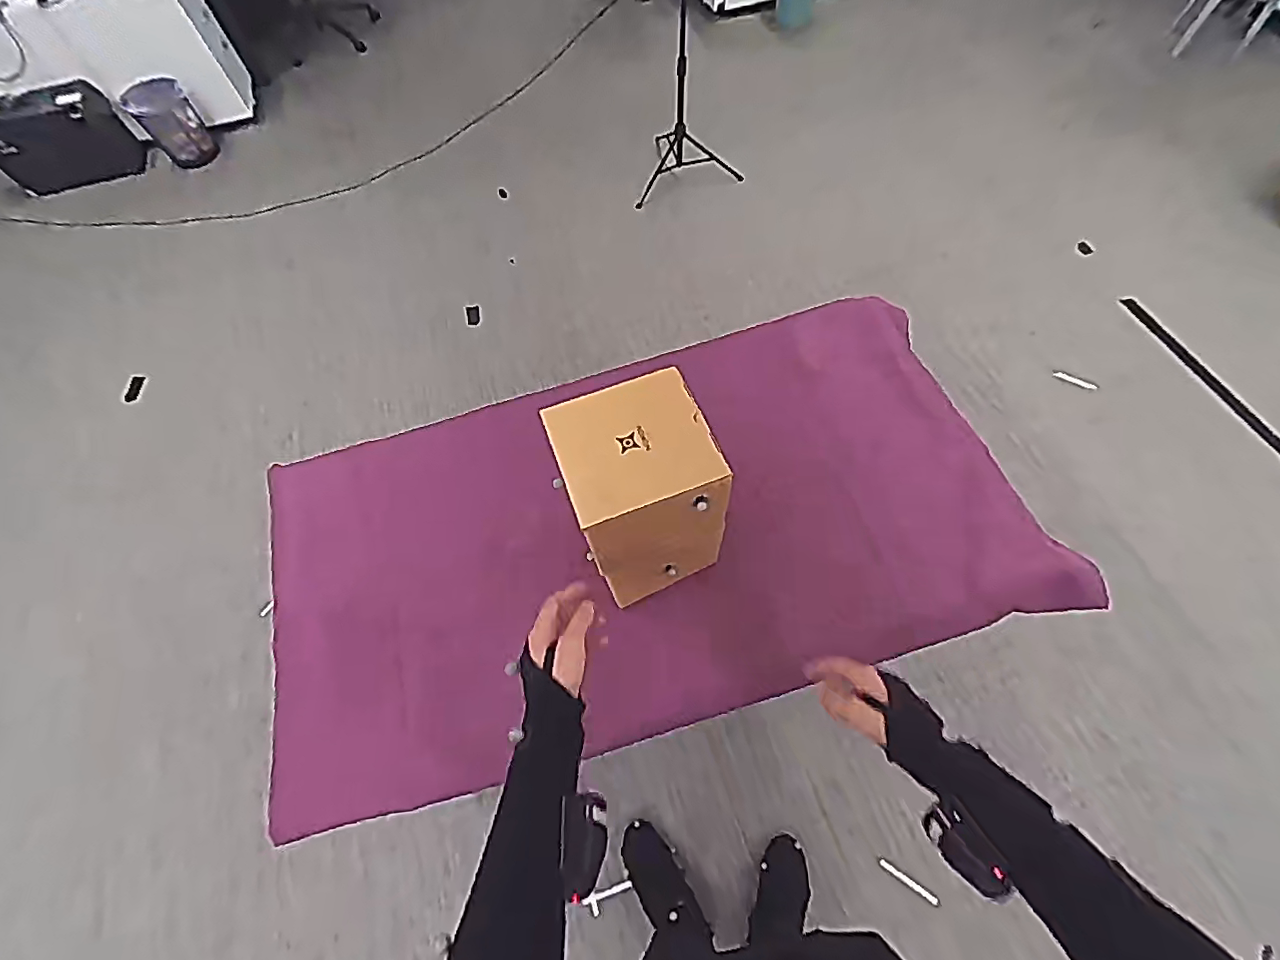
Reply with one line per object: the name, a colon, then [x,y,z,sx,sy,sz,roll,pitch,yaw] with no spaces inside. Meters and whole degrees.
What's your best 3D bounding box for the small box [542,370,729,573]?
small box: [-0.004,-0.003,0.683,0.179,0.176,0.168,-20,63,-7]
